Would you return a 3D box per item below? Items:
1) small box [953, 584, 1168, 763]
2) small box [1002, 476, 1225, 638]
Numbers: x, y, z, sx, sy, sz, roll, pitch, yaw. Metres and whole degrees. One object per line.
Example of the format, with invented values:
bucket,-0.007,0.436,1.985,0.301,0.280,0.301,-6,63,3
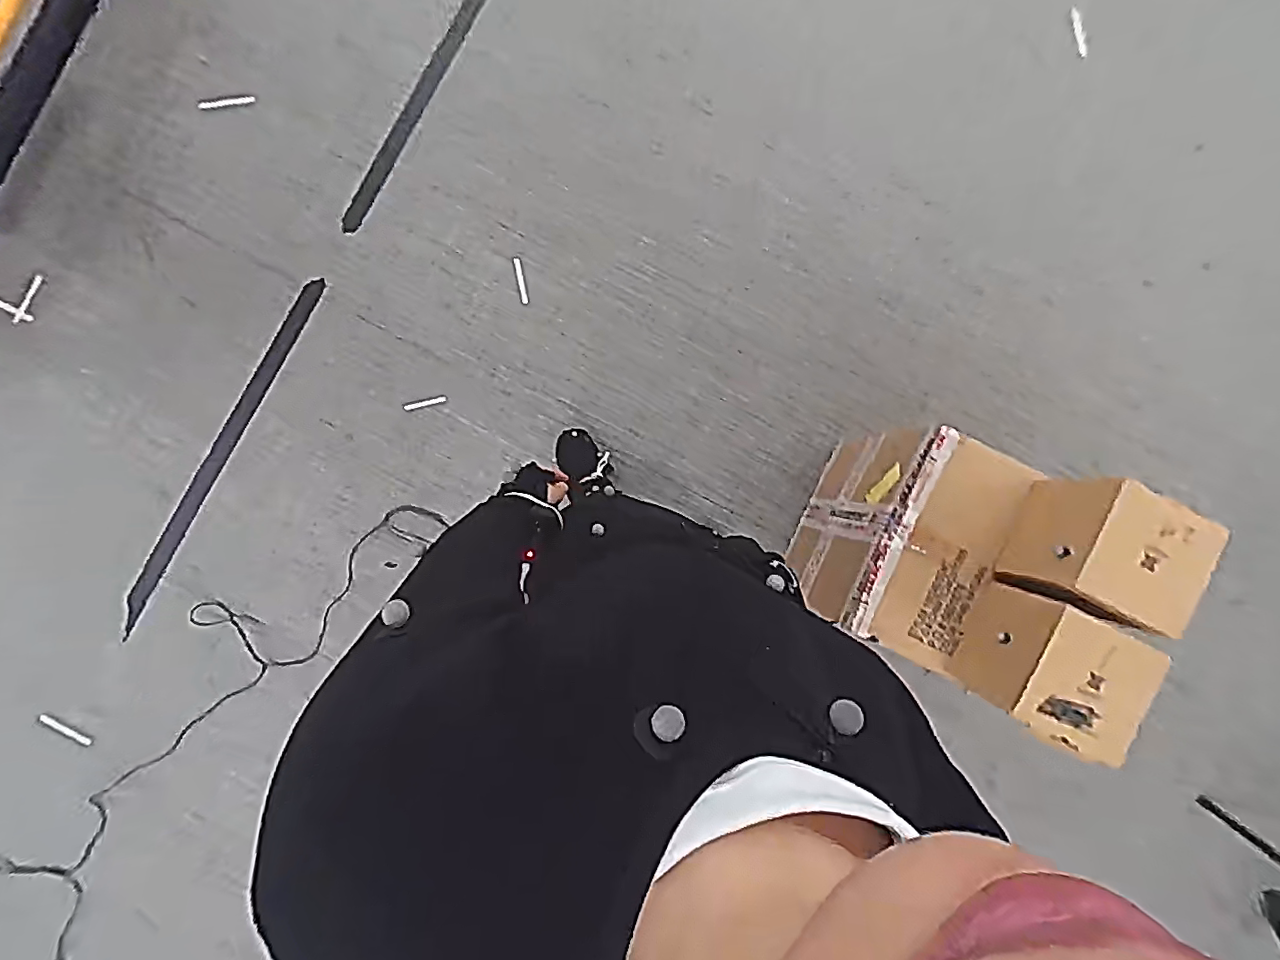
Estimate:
small box,0.623,0.283,0.831,0.168,0.176,0.179,27,90,1
small box,0.706,0.110,0.831,0.168,0.176,0.179,28,87,0
